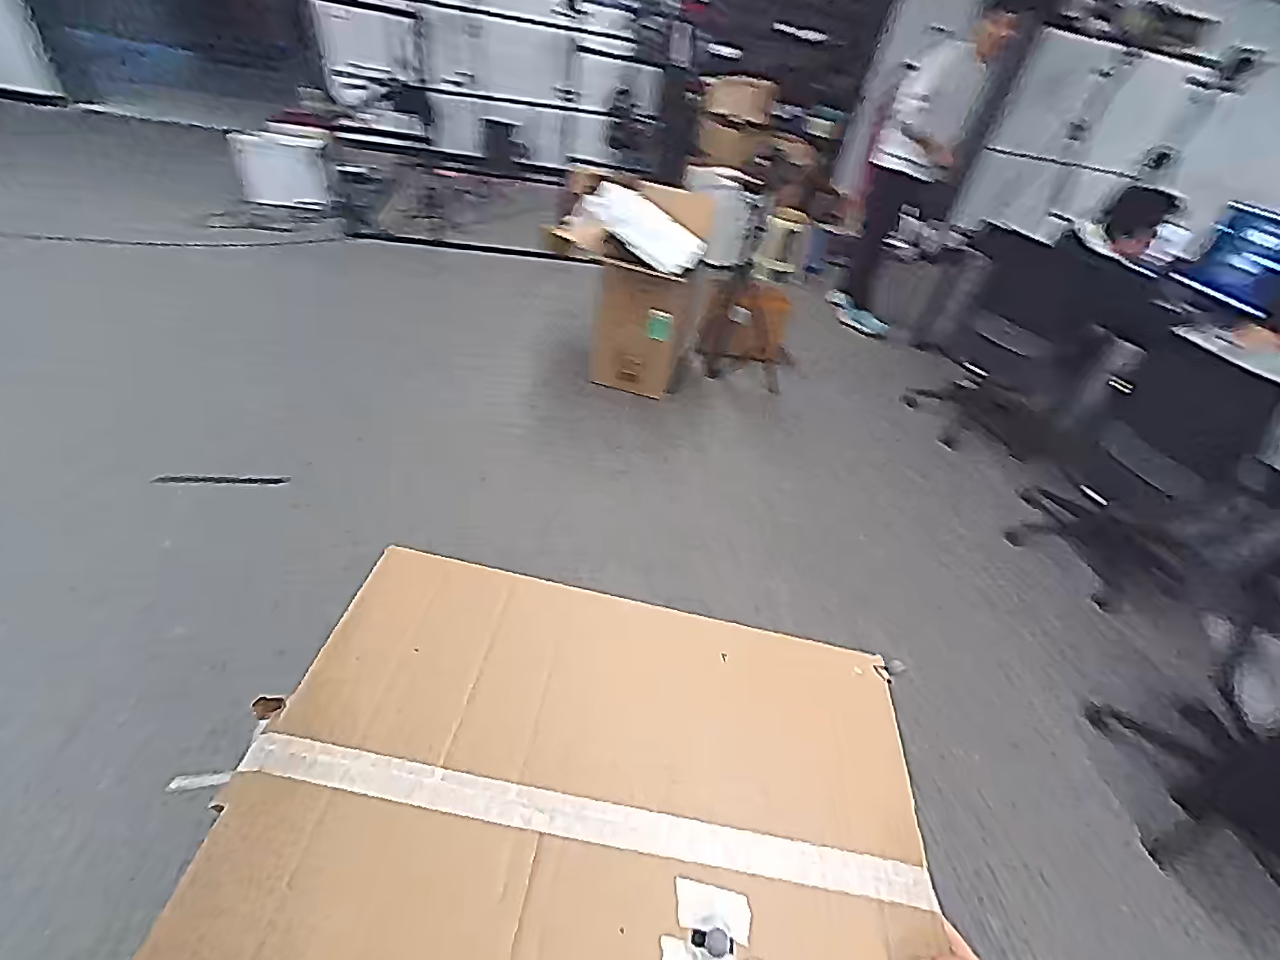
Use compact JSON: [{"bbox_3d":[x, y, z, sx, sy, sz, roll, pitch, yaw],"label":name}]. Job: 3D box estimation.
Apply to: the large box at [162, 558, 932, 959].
[{"bbox_3d":[-0.053,0.310,0.430,0.408,0.320,0.320,13,44,-4],"label":"large box"}]
